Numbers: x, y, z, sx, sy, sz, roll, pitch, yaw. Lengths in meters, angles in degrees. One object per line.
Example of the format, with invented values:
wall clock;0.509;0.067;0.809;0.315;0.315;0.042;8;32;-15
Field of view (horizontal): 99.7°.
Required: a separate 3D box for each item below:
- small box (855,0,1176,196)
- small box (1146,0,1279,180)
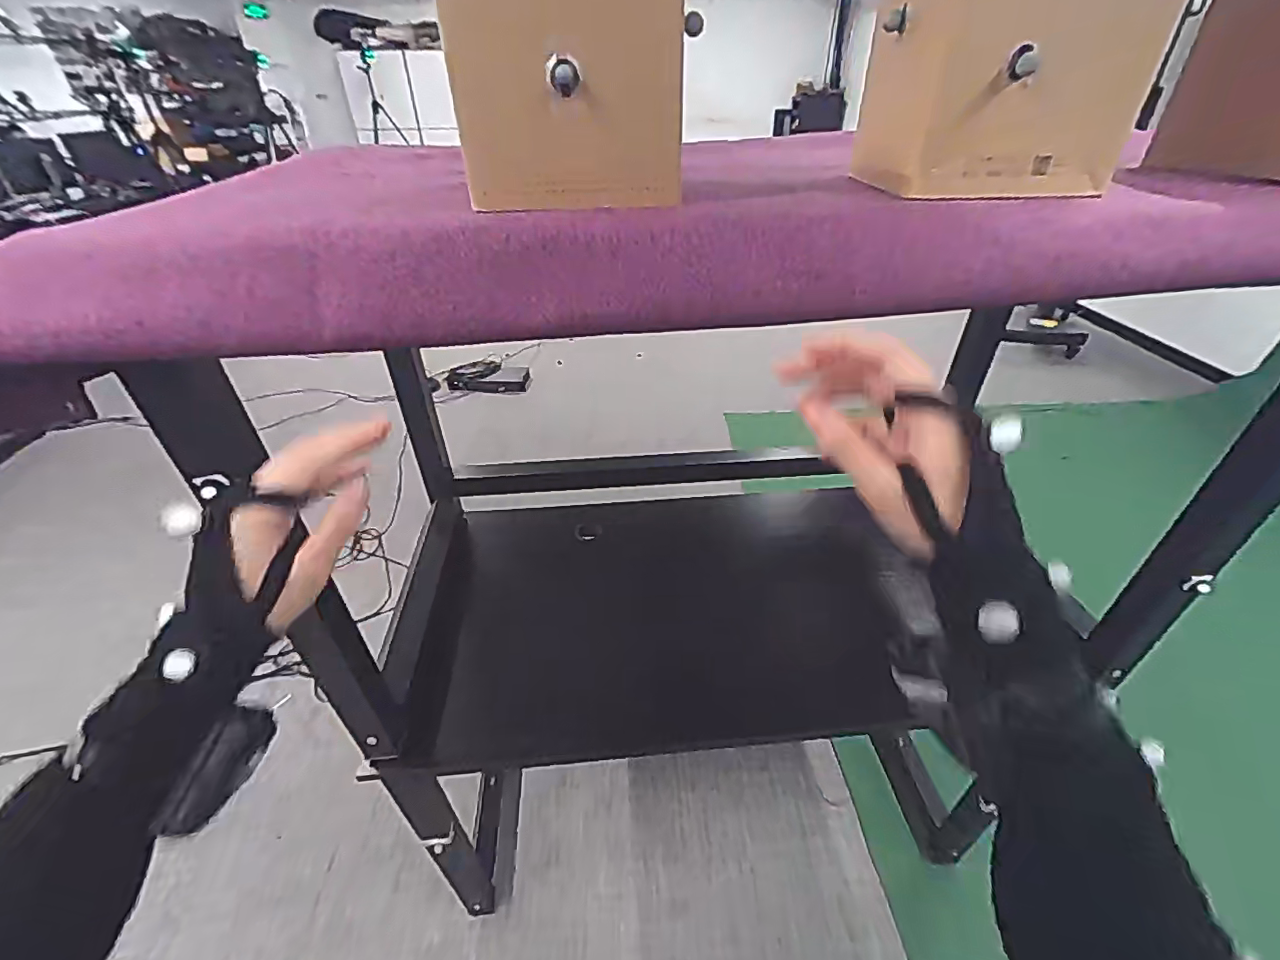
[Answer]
small box;0.309;-0.352;0.474;0.168;0.176;0.179;0;35;1
small box;0.650;-0.378;0.500;0.168;0.176;0.179;-4;34;-5
